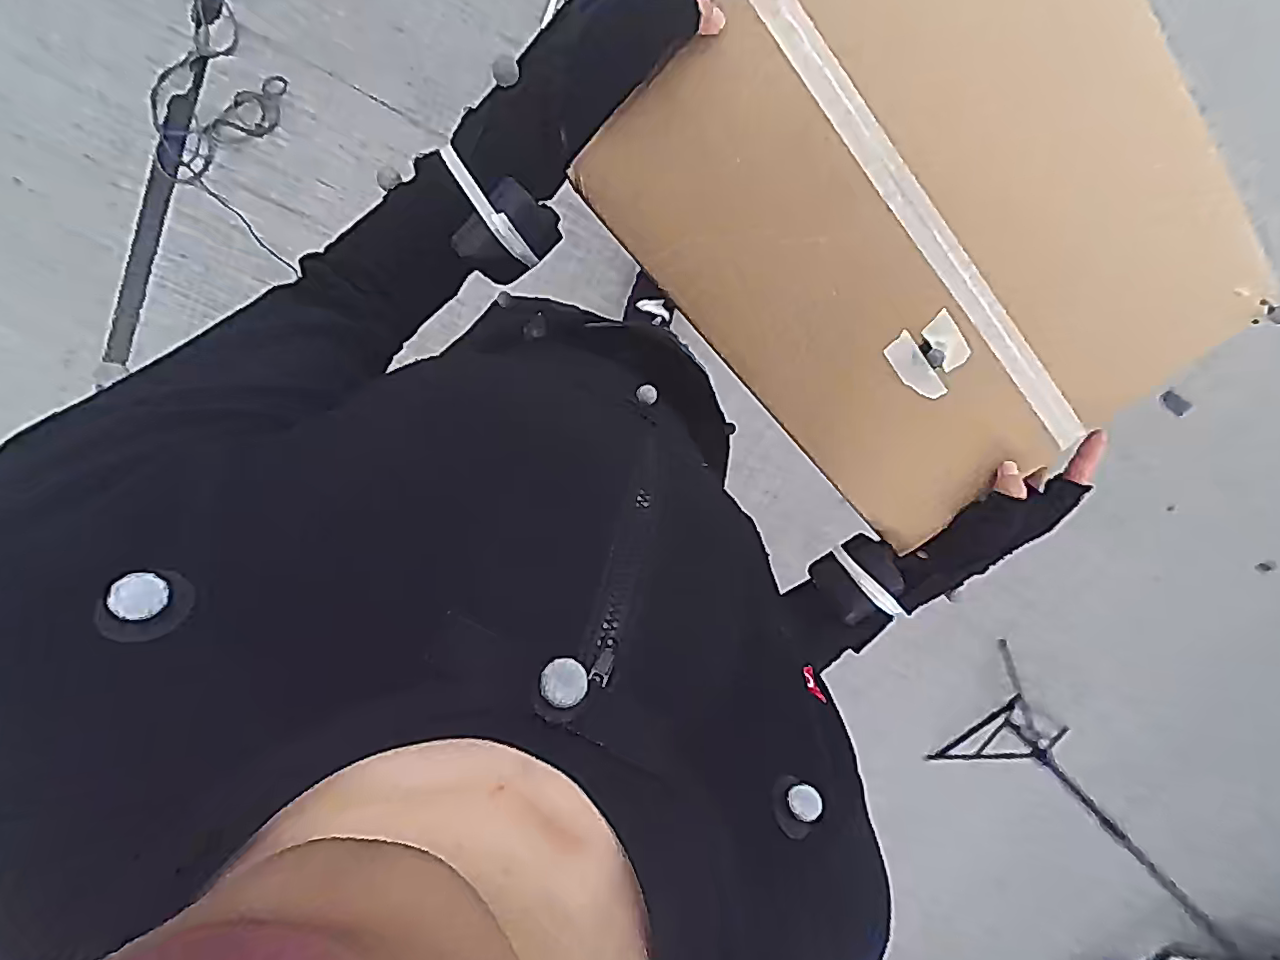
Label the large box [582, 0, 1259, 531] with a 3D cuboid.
[{"bbox_3d":[0.204,-0.238,0.515,0.320,0.320,0.408,-40,108,18],"label":"large box"}]
